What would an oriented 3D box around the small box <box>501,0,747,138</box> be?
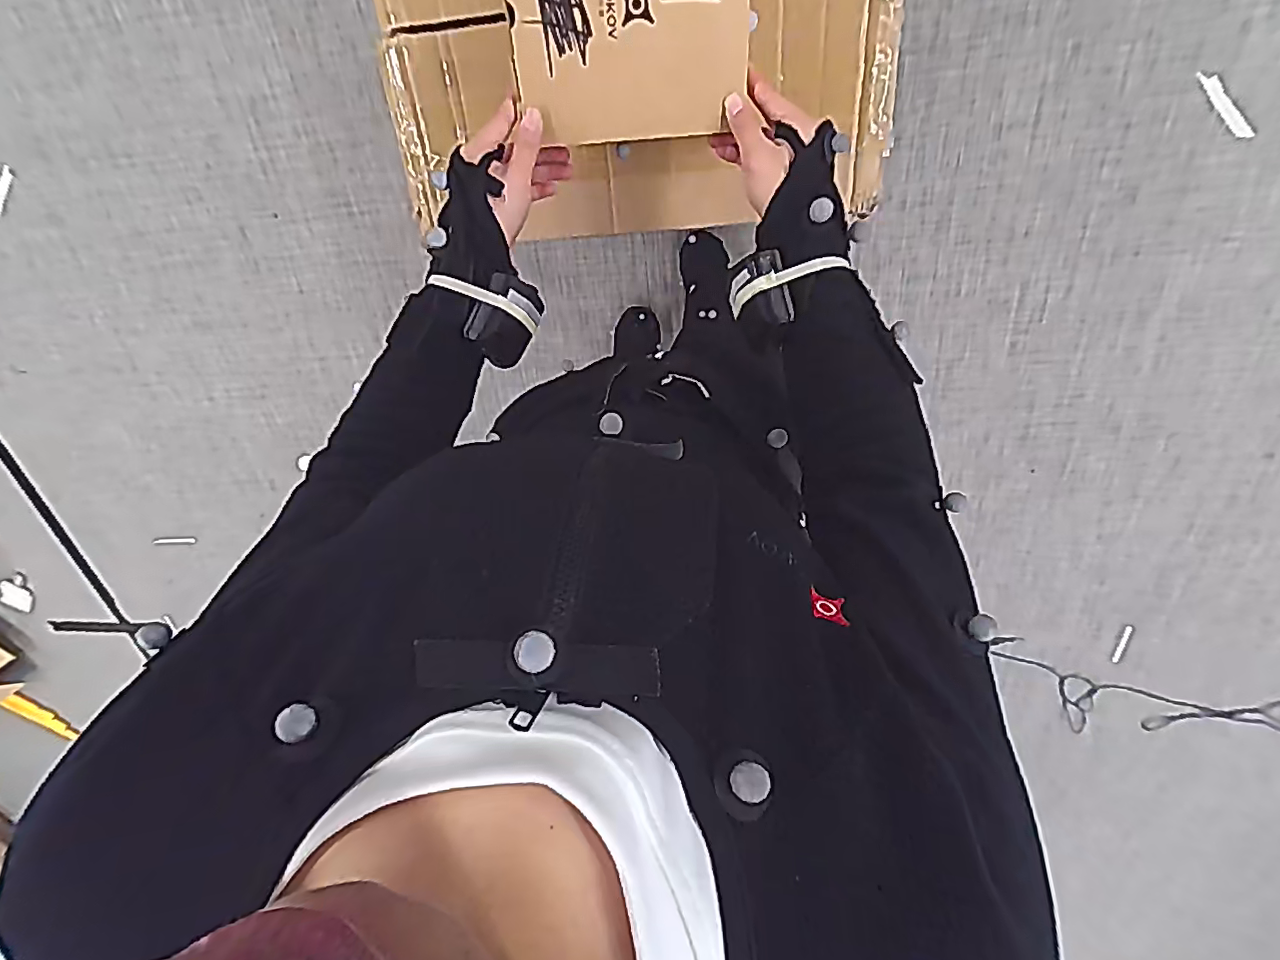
[{"bbox_3d":[-0.007,-0.382,0.442,0.179,0.176,0.168,-1,125,5],"label":"small box"}]
